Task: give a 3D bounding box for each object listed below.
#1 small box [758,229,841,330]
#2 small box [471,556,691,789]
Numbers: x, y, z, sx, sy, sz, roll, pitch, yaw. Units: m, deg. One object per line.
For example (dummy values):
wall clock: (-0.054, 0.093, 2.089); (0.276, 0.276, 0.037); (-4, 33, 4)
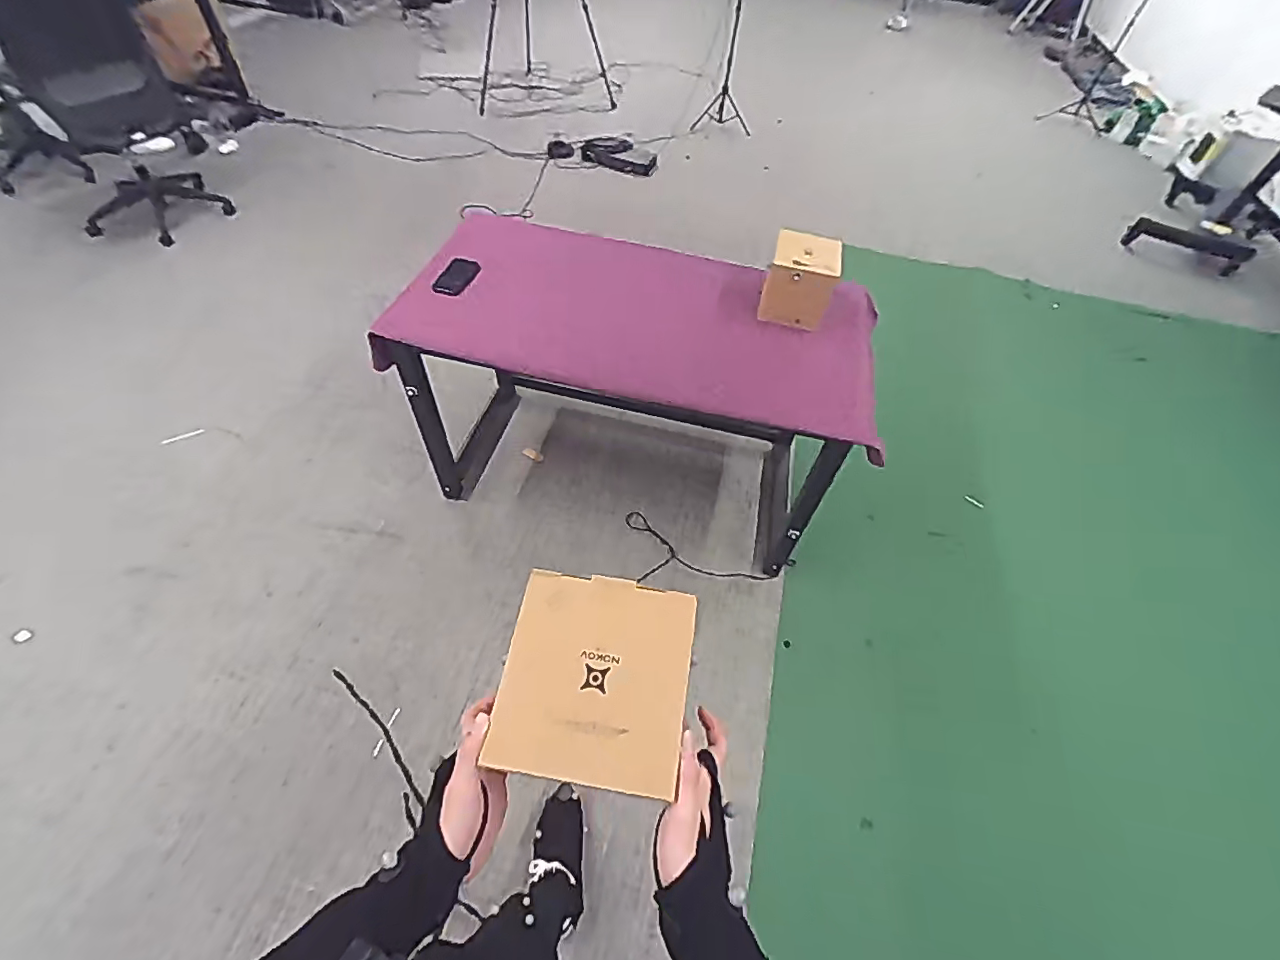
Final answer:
small box: (0.415, -0.524, 1.419); (0.168, 0.176, 0.179); (13, 52, 6)
small box: (-0.047, 0.198, 0.545); (0.168, 0.176, 0.179); (8, 61, 4)
